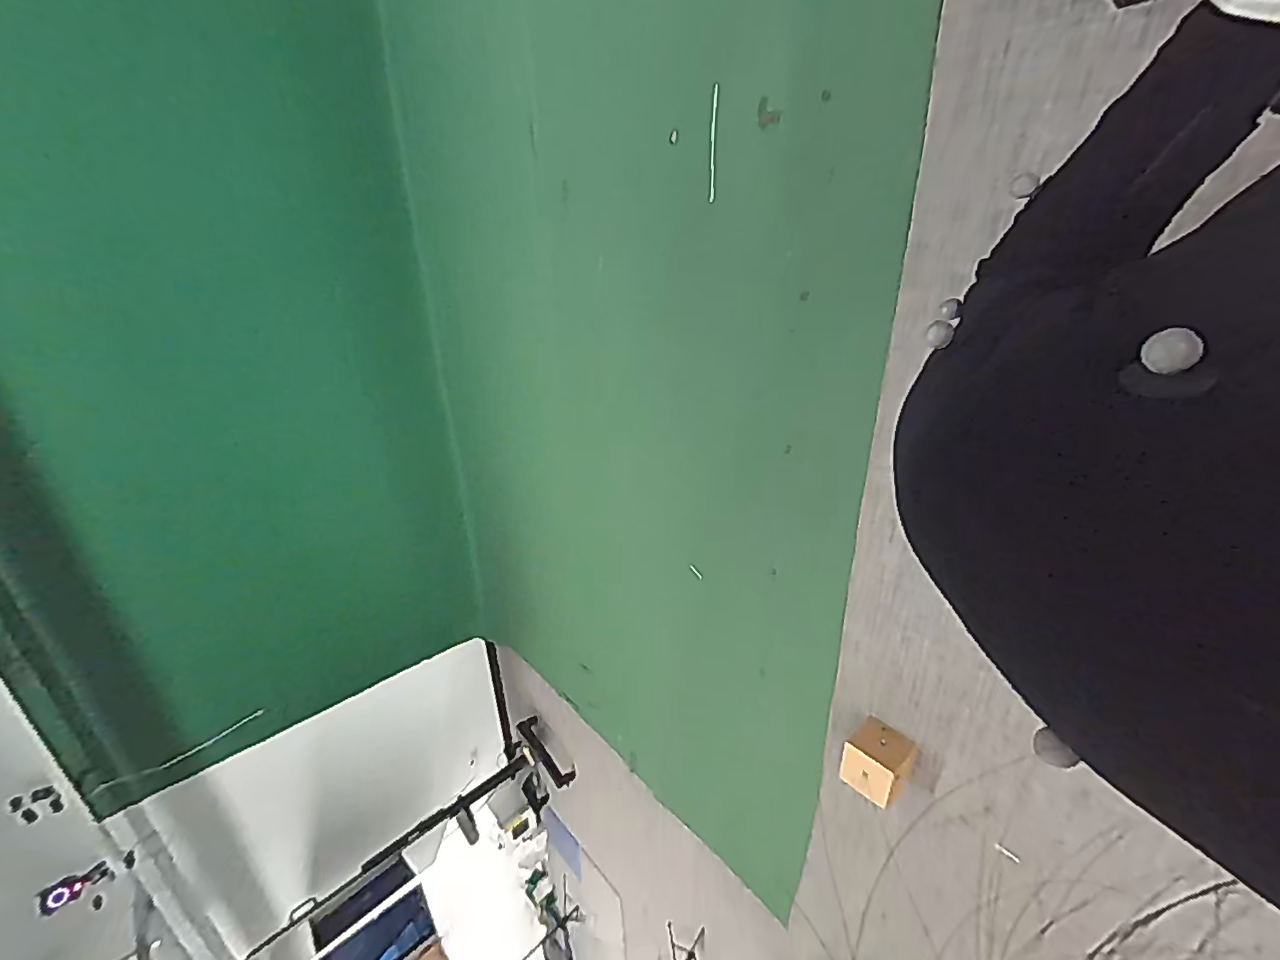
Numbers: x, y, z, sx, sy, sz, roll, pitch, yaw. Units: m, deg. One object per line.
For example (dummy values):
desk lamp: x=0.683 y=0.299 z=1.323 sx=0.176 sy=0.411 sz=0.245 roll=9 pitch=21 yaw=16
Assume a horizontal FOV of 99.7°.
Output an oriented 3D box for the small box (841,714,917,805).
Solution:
small box: x=0.808 y=0.933 z=1.822 sx=0.168 sy=0.176 sz=0.179 roll=25 pitch=125 yaw=44
